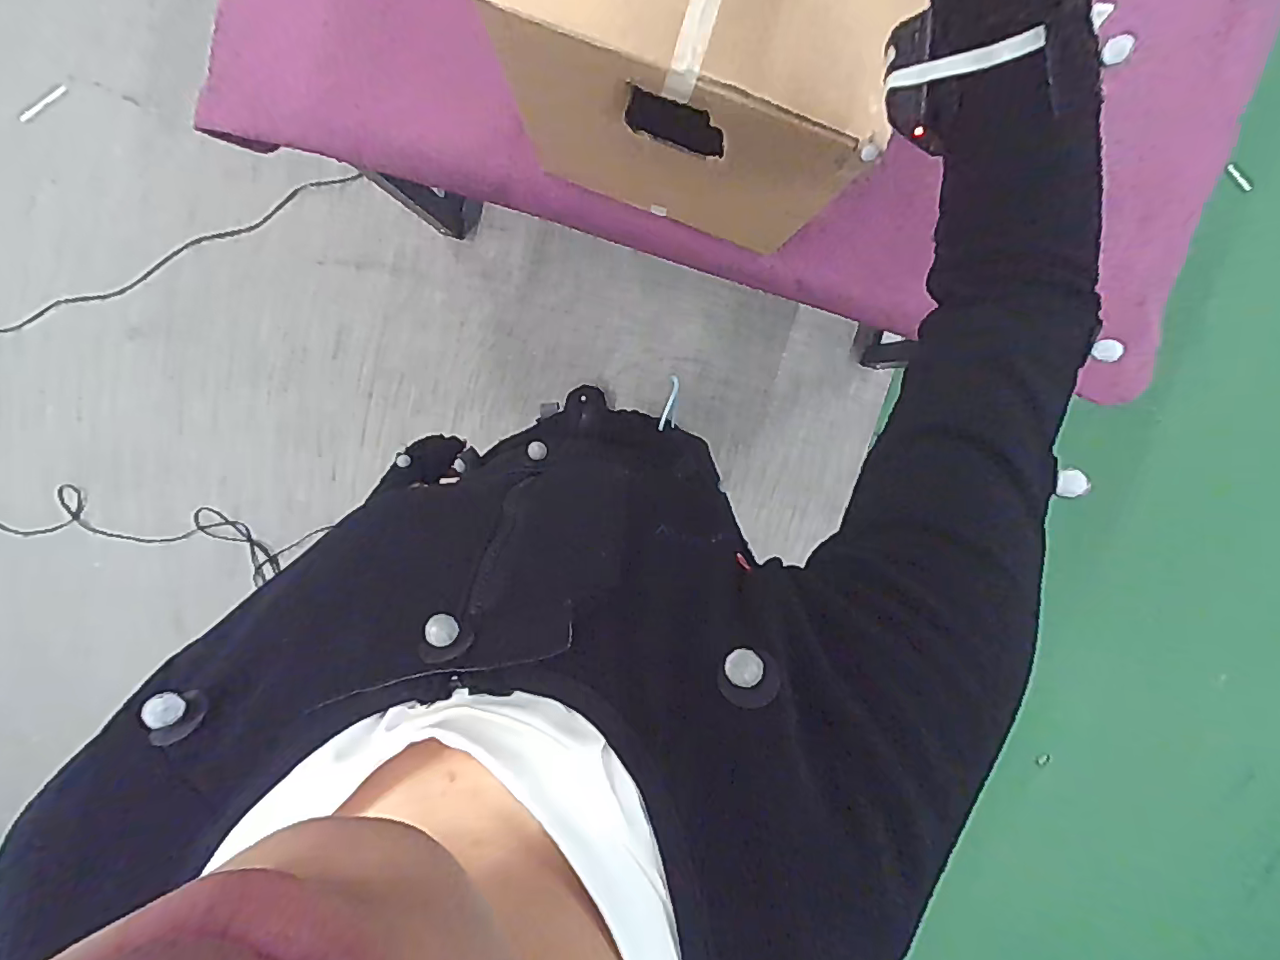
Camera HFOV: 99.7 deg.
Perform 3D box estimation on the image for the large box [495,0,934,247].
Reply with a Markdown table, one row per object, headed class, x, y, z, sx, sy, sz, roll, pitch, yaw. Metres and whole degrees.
| class | x | y | z | sx | sy | sz | roll | pitch | yaw |
| --- | --- | --- | --- | --- | --- | --- | --- | --- | --- |
| large box | 0.092 | -0.505 | 0.518 | 0.320 | 0.320 | 0.408 | 18 | 100 | -4 |
